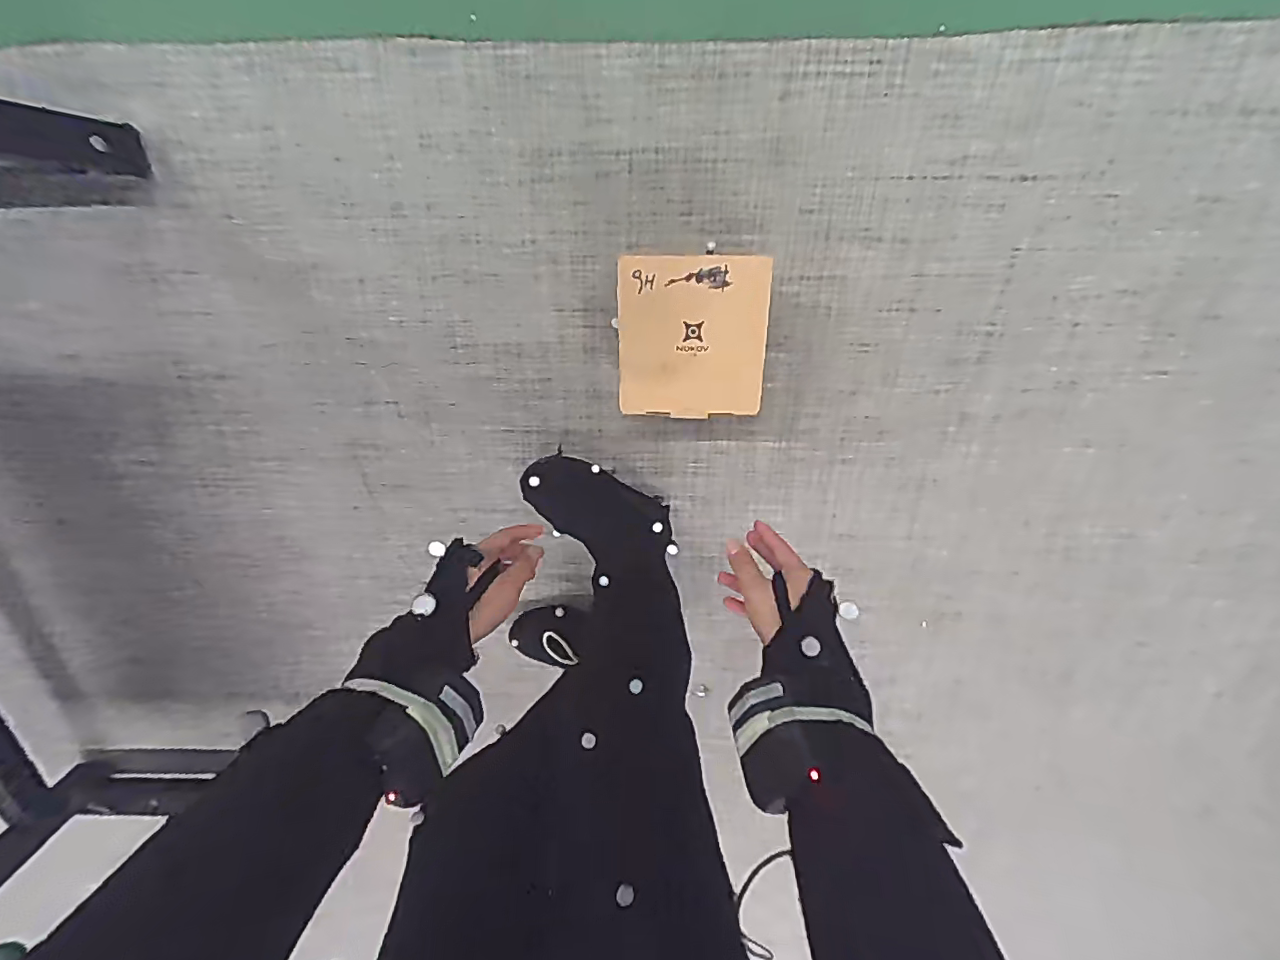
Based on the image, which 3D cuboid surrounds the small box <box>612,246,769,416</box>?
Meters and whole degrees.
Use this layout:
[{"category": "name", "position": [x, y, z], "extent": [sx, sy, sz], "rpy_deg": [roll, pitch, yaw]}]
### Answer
[{"category": "small box", "position": [0.054, -0.190, 0.667], "extent": [0.168, 0.176, 0.179], "rpy_deg": [1, 115, 1]}]
